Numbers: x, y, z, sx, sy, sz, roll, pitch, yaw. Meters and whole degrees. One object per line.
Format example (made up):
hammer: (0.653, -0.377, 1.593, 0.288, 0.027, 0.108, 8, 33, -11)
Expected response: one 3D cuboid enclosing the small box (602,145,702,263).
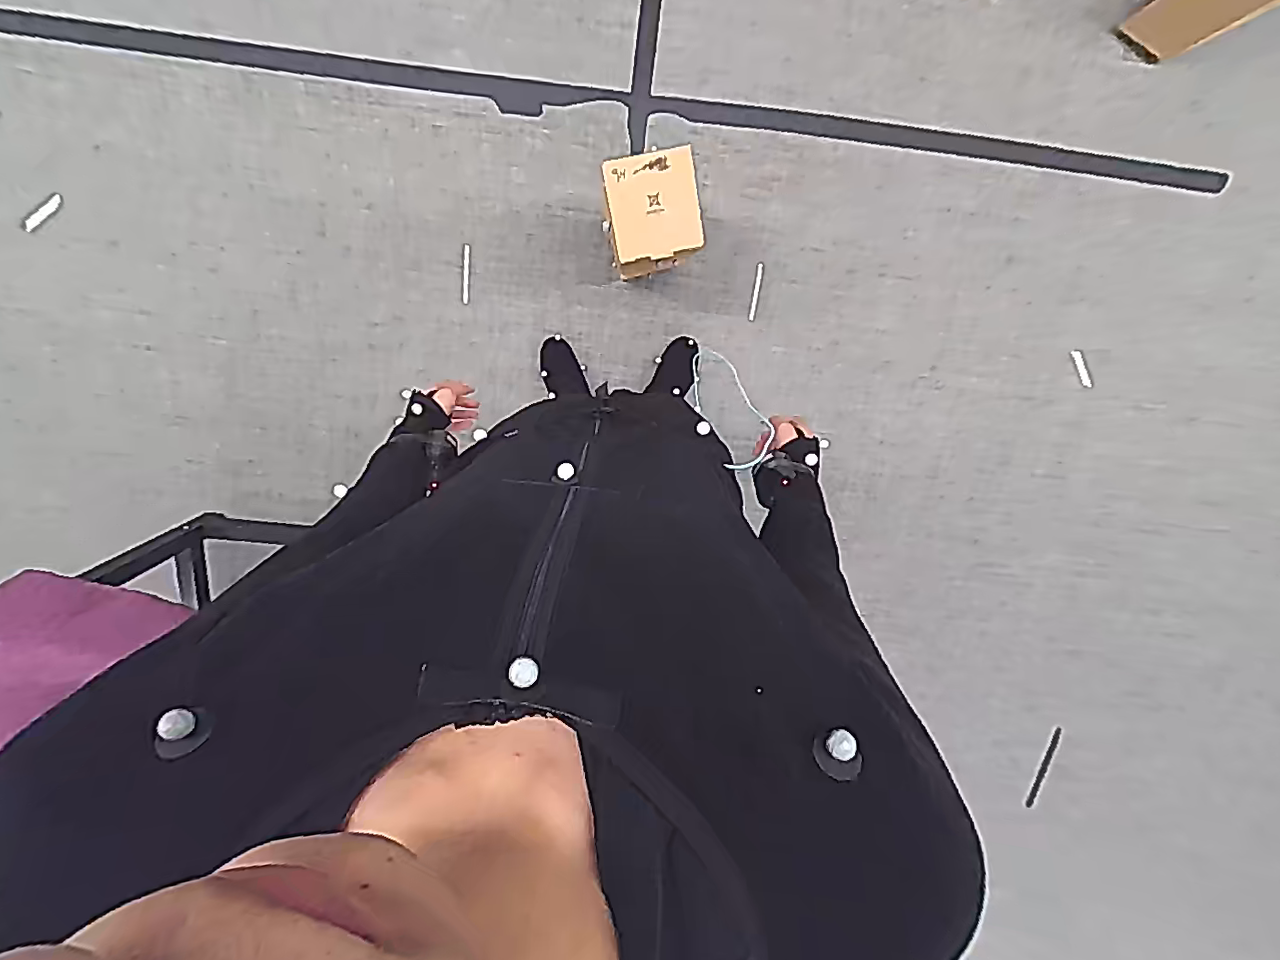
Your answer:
small box: (0.023, -0.535, 1.074, 0.168, 0.176, 0.179, -10, 109, 1)
